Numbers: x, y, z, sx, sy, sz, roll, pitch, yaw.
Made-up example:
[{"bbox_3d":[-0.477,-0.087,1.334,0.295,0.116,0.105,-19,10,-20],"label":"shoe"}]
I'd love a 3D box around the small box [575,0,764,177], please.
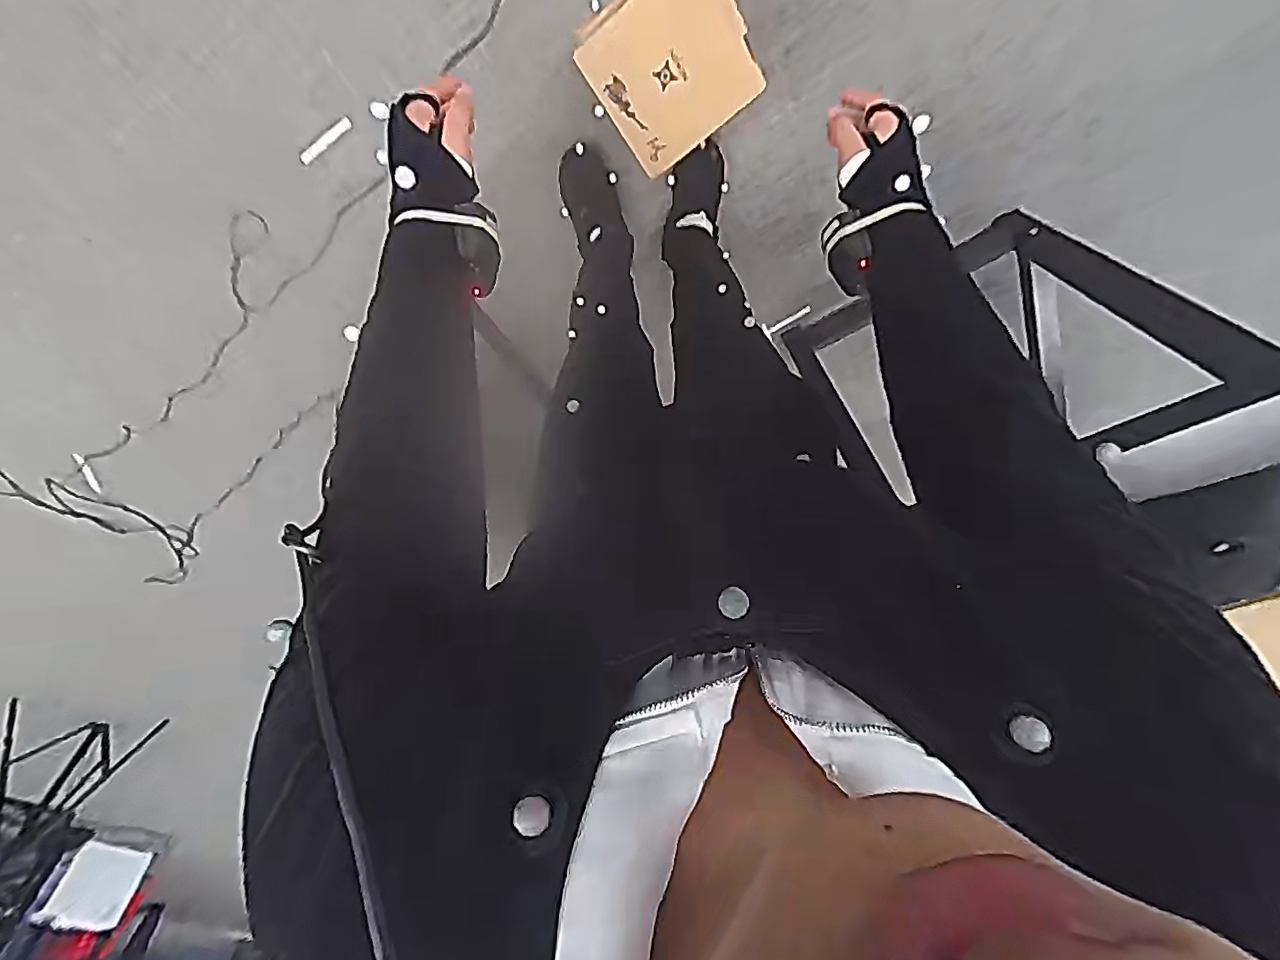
[{"bbox_3d":[0.031,-0.539,0.700,0.179,0.176,0.168,-31,126,20],"label":"small box"}]
